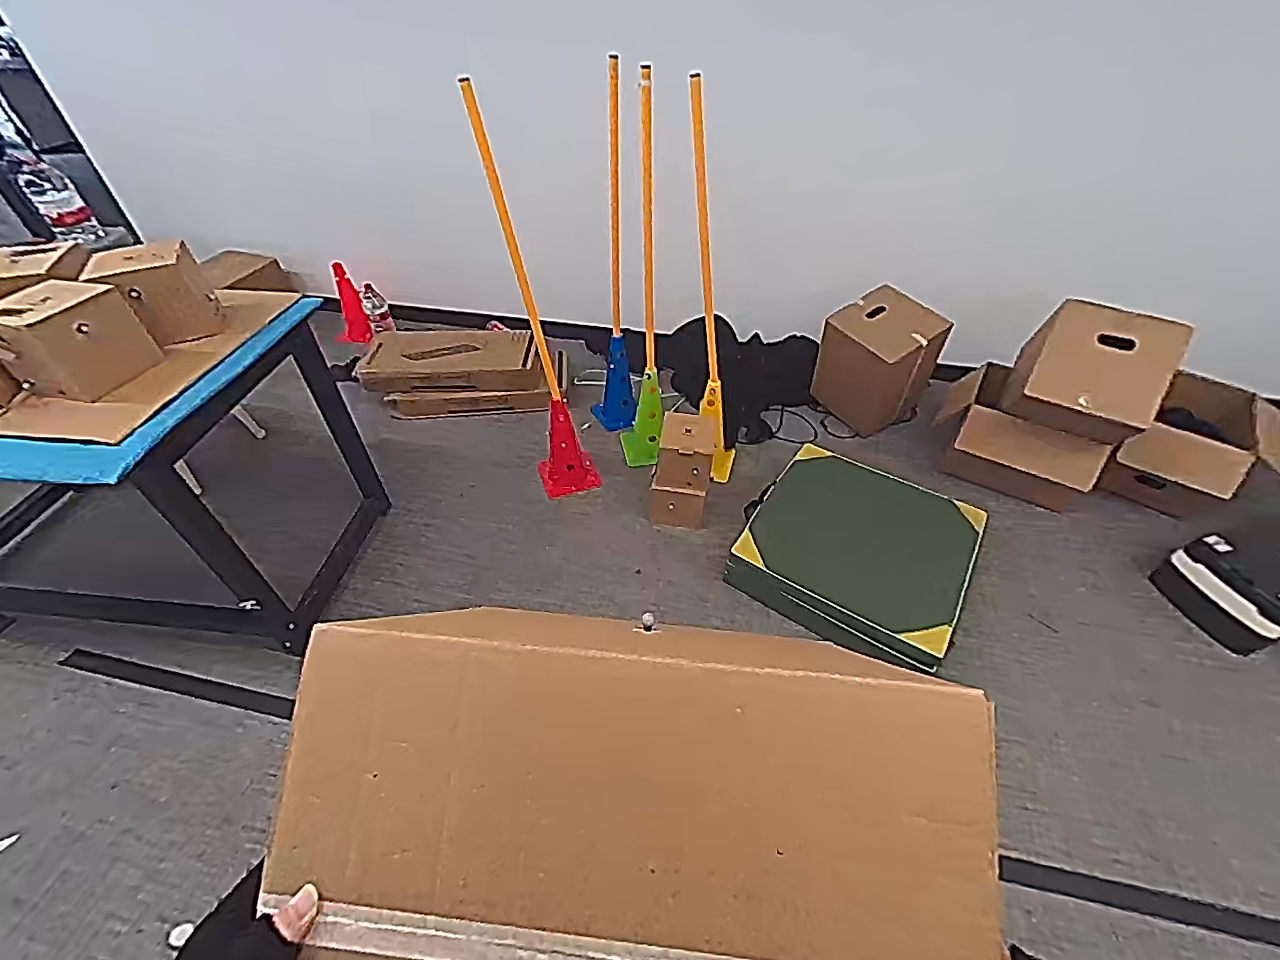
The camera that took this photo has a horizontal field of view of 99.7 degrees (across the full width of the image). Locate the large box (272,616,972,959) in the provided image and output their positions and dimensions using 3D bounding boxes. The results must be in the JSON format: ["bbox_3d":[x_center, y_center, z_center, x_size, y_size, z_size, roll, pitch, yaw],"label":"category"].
[{"bbox_3d":[-0.006,0.294,0.455,0.408,0.320,0.320,4,79,4],"label":"large box"}]
